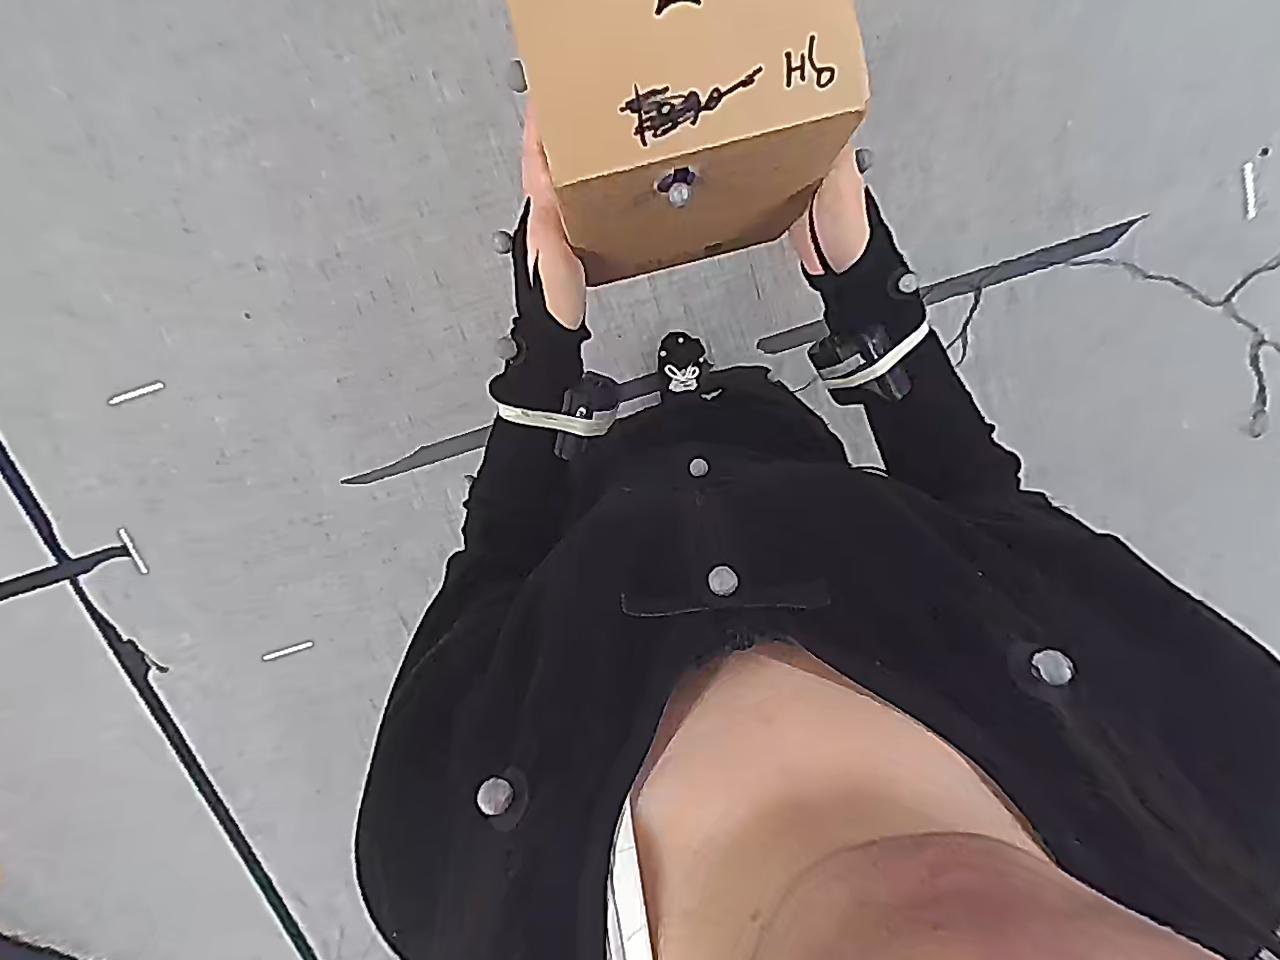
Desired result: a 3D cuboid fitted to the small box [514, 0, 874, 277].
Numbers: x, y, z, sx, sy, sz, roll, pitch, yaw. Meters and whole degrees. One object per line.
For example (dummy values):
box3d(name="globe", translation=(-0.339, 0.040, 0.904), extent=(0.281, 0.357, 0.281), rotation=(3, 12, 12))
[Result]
box3d(name="small box", translation=(0.016, -0.256, 0.341), extent=(0.168, 0.176, 0.179), rotation=(-14, 92, 0))
